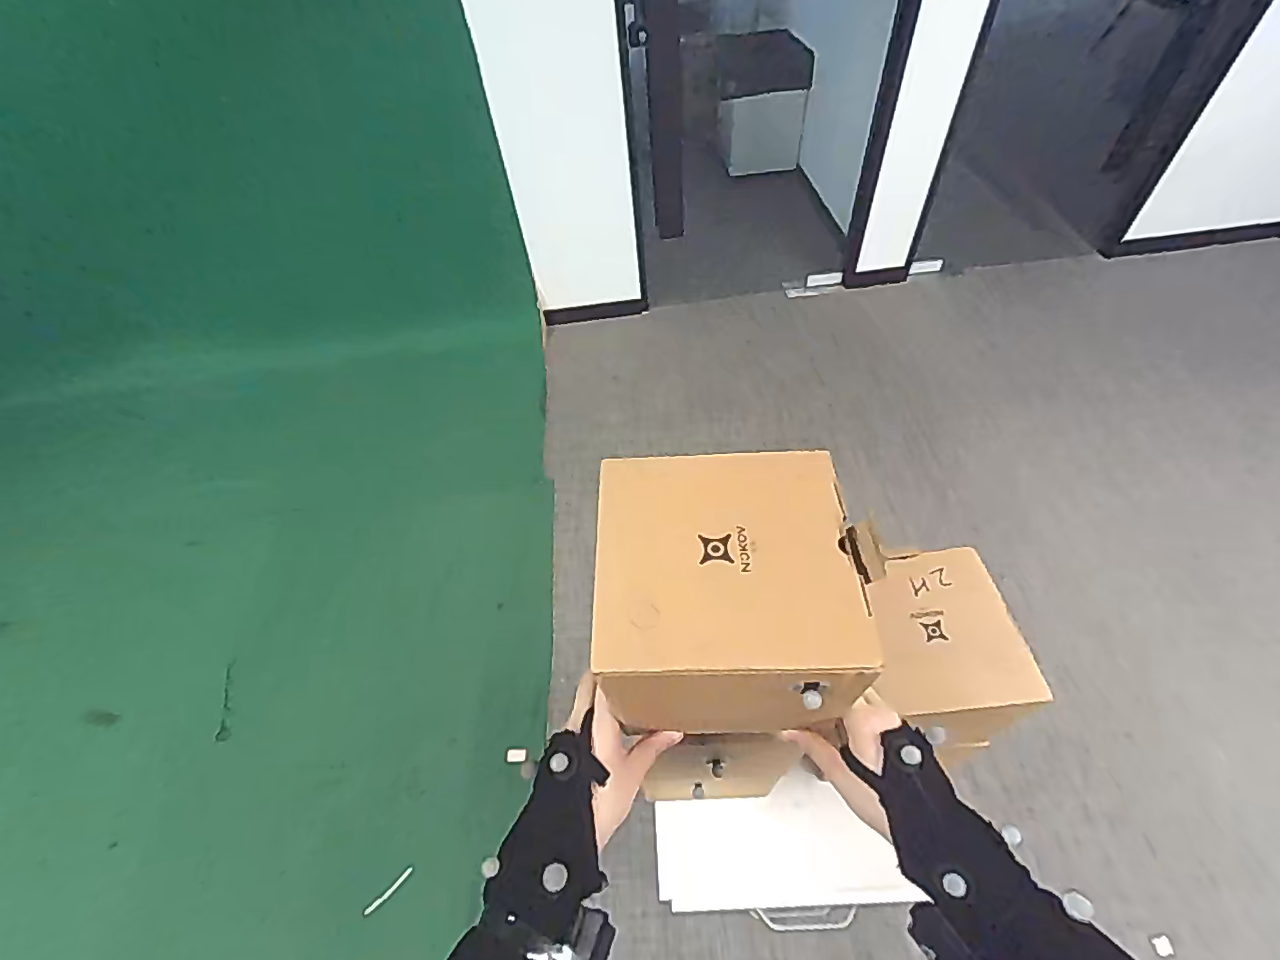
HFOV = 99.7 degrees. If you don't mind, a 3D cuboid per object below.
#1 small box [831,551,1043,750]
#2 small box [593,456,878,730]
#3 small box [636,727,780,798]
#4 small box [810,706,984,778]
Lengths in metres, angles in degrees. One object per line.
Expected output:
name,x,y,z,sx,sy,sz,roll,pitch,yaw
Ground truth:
small box,0.313,0.207,0.638,0.168,0.176,0.179,-6,51,1
small box,0.064,0.098,0.438,0.179,0.176,0.168,-2,53,3
small box,0.088,0.341,0.763,0.179,0.176,0.168,-3,52,2
small box,0.333,0.312,0.763,0.179,0.176,0.168,-4,51,2
